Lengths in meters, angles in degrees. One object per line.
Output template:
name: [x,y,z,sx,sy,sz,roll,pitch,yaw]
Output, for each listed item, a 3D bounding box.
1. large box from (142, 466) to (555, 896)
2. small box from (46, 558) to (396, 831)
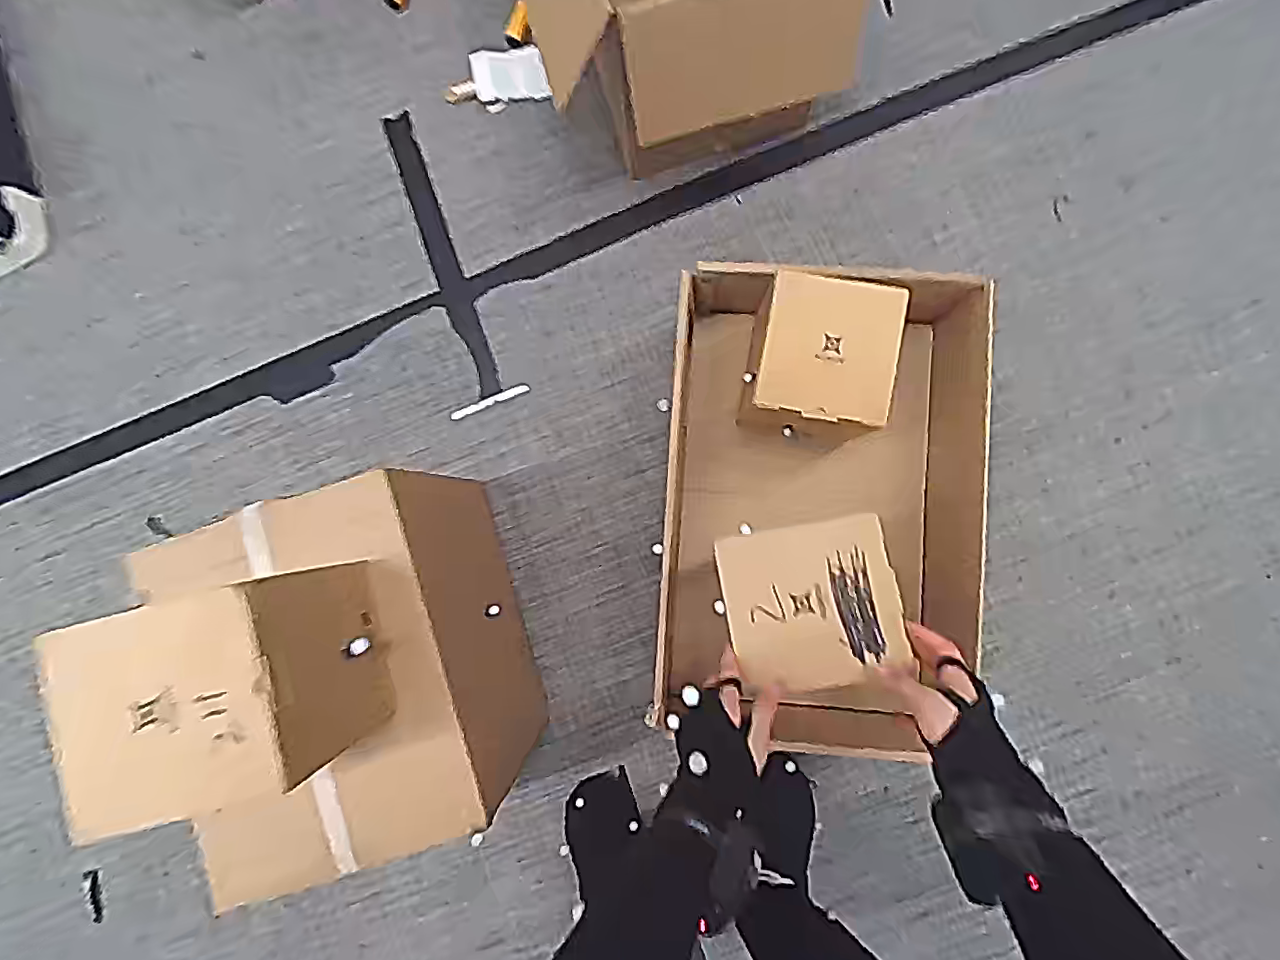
large box: [-0.346,0.223,0.740,0.320,0.320,0.408,-19,87,3]
small box: [-0.359,0.175,0.496,0.179,0.176,0.168,-14,87,2]
